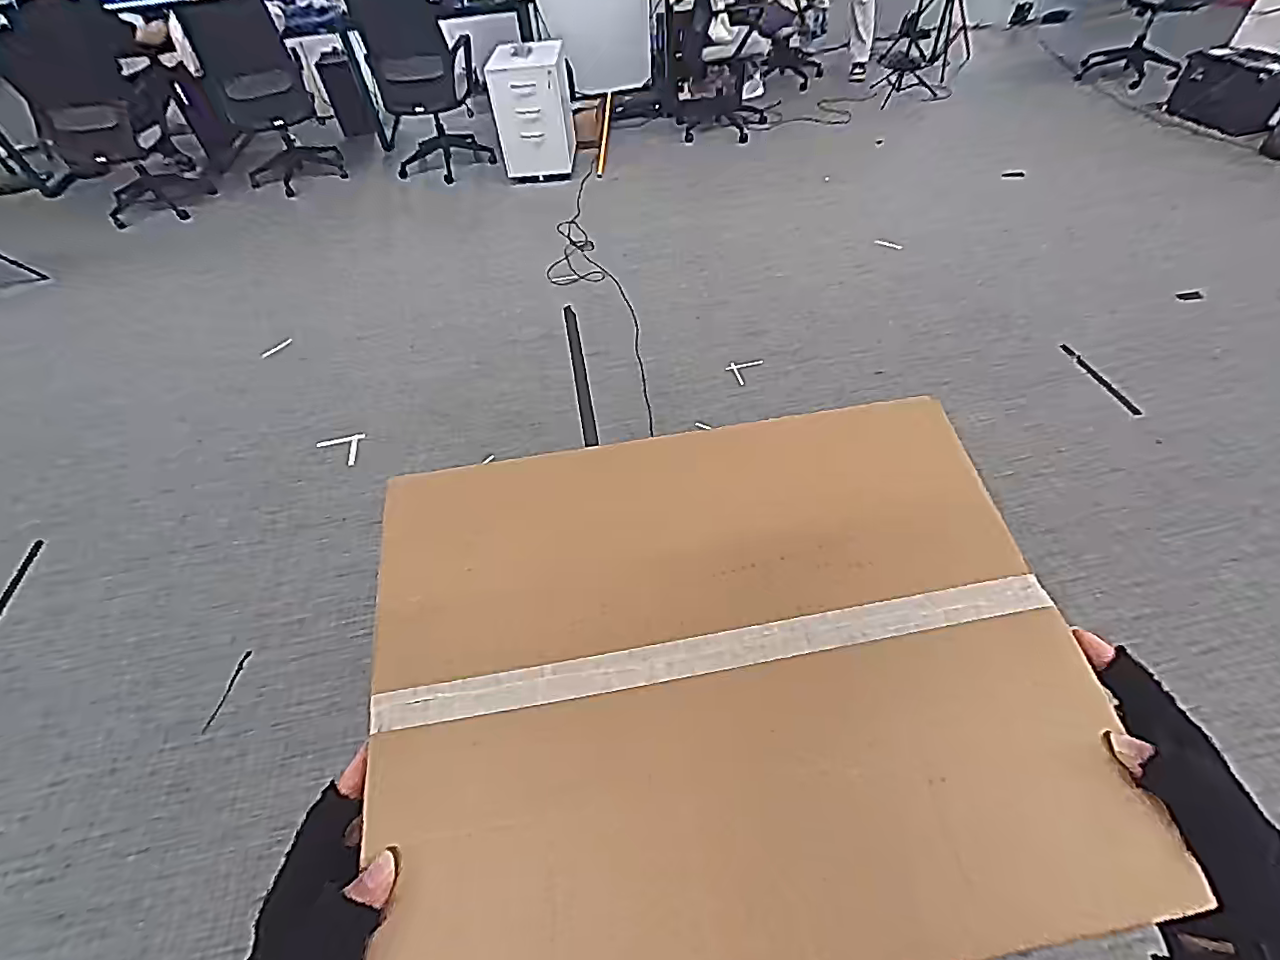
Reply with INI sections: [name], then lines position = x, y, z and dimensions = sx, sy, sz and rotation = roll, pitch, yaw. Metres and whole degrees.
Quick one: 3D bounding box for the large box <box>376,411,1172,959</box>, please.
[large box]
position = 0.052, 0.183, 0.456
dimensions = 0.408, 0.320, 0.320
rotation = -10, 60, -3
